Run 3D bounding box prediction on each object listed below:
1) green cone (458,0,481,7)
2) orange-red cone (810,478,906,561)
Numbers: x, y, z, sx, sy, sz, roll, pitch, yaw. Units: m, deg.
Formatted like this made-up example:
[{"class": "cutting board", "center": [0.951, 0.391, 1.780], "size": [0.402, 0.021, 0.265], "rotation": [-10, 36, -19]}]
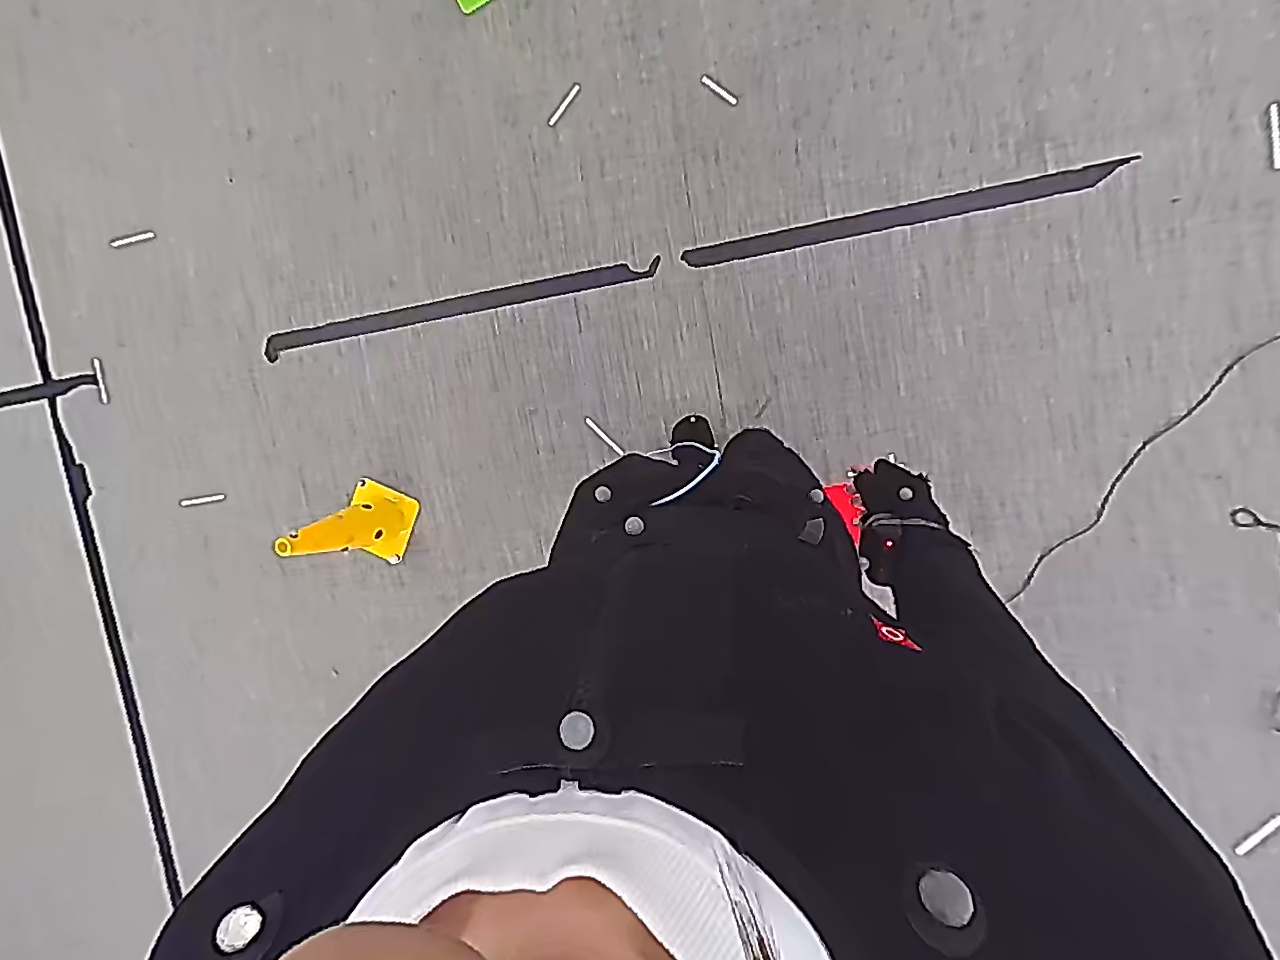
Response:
[{"class": "green cone", "center": [-0.432, -1.329, 1.214], "size": [0.202, 0.368, 0.200], "rotation": [-25, 91, 9]}, {"class": "orange-red cone", "center": [0.511, 0.113, 1.192], "size": [0.199, 0.360, 0.198], "rotation": [-9, 93, 11]}]
